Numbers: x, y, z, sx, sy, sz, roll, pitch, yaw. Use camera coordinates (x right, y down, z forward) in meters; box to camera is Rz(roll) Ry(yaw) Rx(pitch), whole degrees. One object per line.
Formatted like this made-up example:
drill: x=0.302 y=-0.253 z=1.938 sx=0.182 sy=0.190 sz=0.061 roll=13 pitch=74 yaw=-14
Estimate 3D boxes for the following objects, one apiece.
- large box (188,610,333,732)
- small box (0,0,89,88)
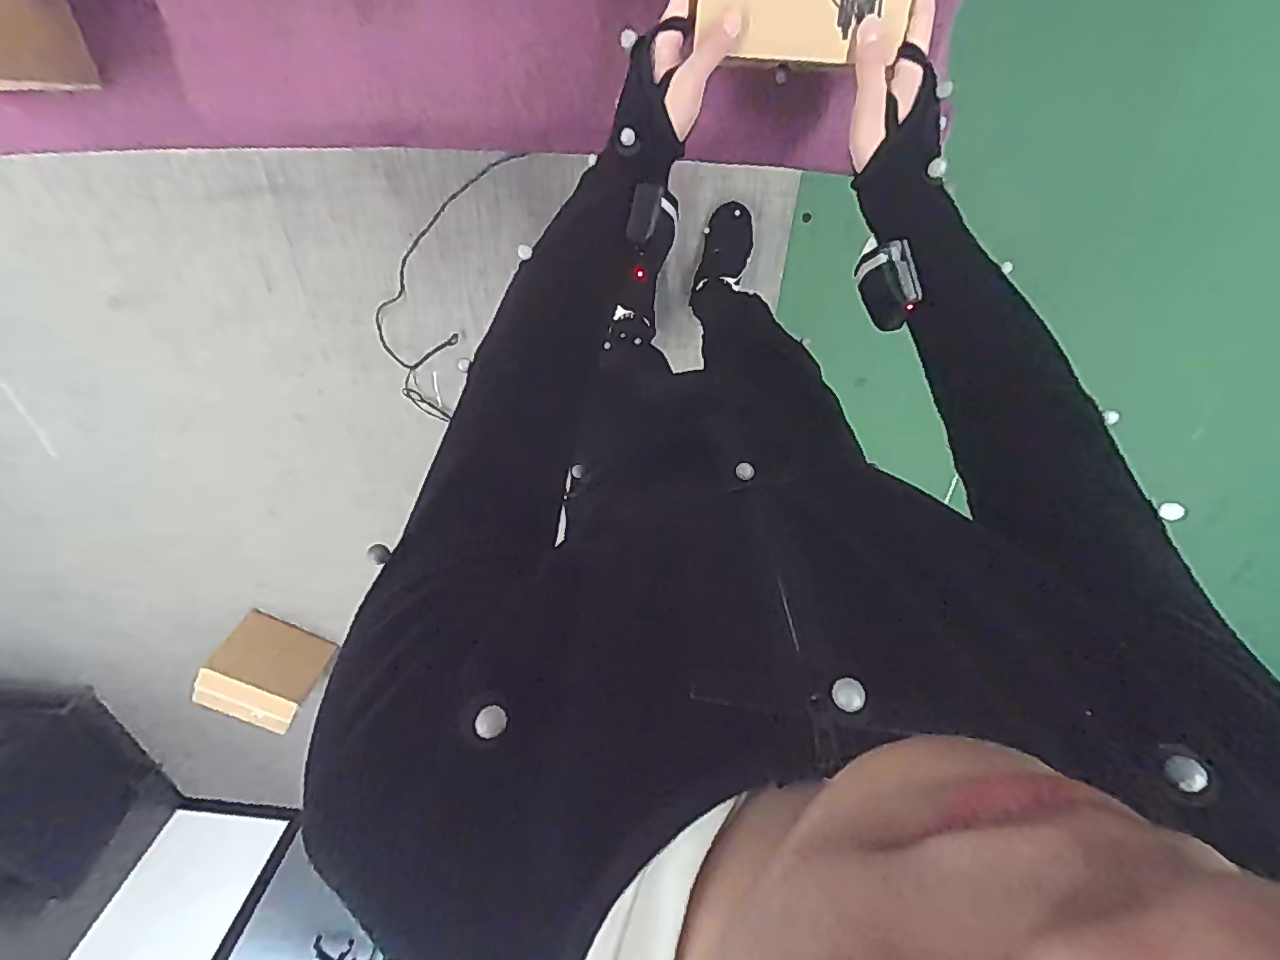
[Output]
large box: x=-1.671 y=0.843 z=2.397 sx=0.408 sy=0.320 sz=0.320 roll=30 pitch=124 yaw=-16
small box: x=-0.734 y=-0.503 z=0.534 sx=0.168 sy=0.176 sz=0.179 roll=3 pitch=124 yaw=4
